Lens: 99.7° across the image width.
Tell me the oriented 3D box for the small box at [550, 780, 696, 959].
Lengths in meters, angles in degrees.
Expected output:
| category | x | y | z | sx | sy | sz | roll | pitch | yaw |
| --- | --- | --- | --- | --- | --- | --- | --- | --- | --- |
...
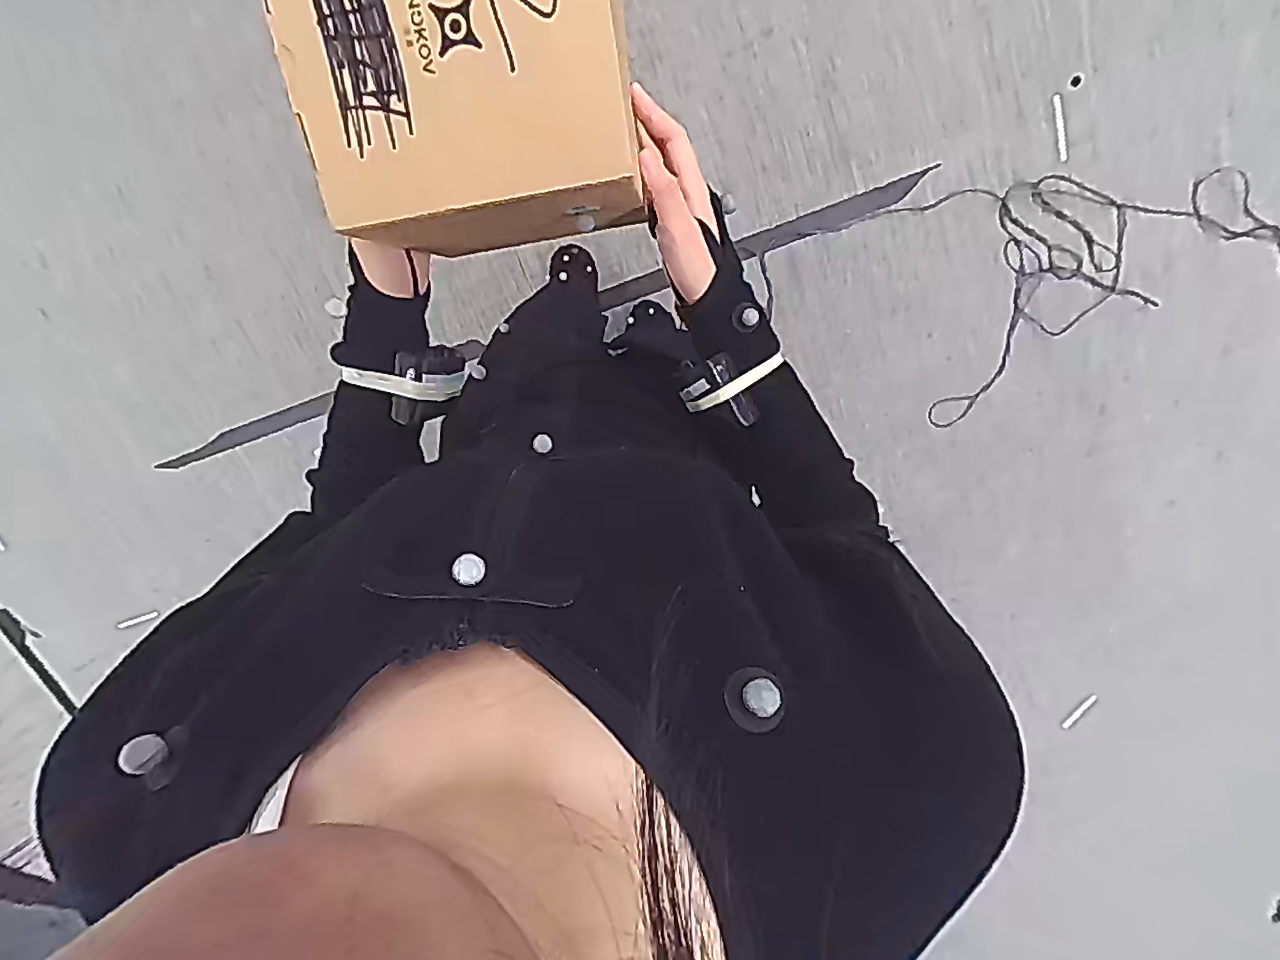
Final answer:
| category | x | y | z | sx | sy | sz | roll | pitch | yaw |
| --- | --- | --- | --- | --- | --- | --- | --- | --- | --- |
| small box | -0.018 | 0.606 | 0.841 | 0.179 | 0.176 | 0.168 | -15 | 106 | 7 |
